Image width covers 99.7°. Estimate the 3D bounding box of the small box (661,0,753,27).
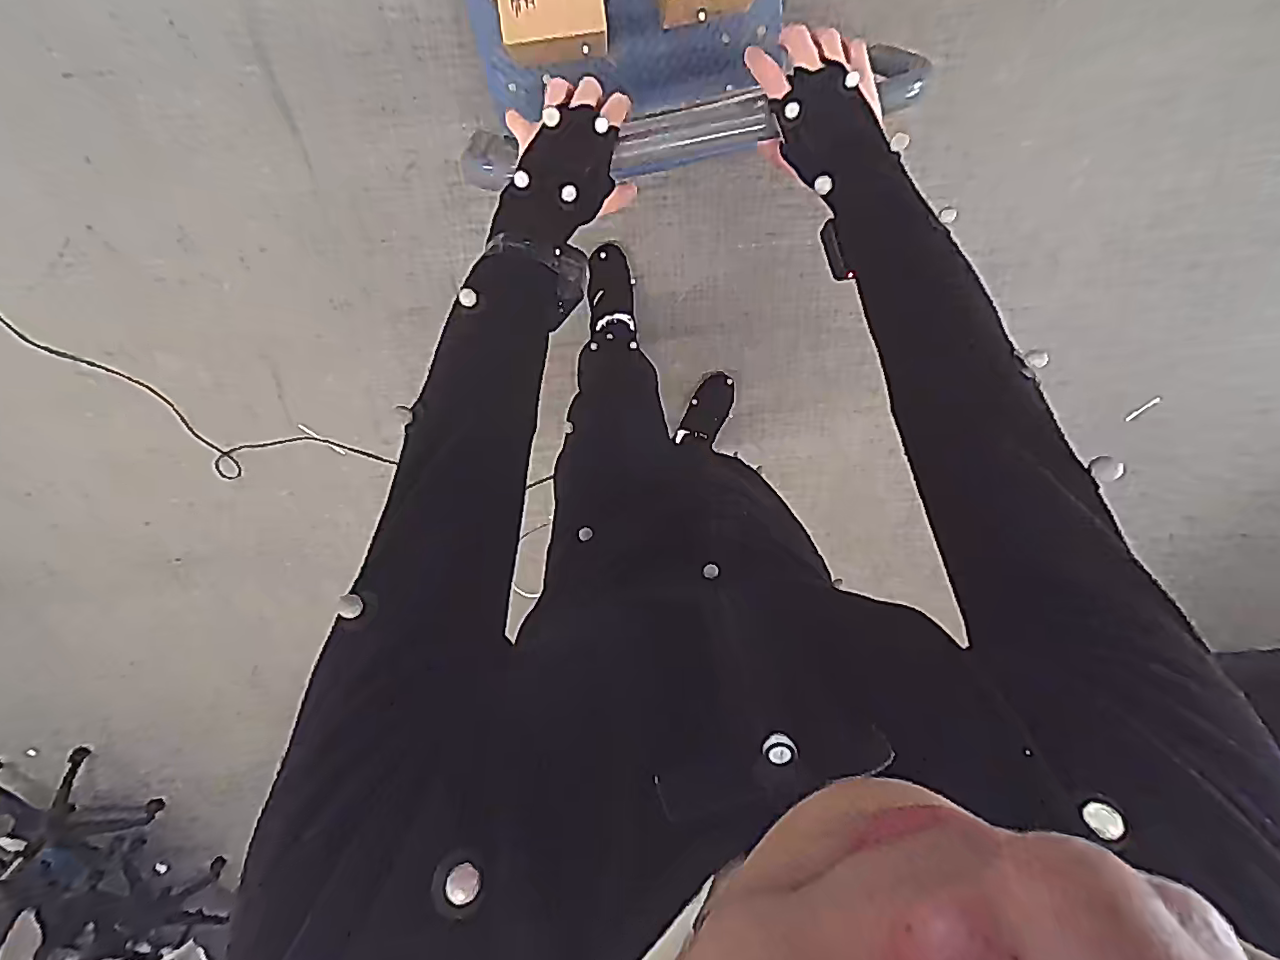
[{"bbox_3d":[0.114,-0.917,0.921,0.168,0.176,0.179,-9,117,3],"label":"small box"}]
